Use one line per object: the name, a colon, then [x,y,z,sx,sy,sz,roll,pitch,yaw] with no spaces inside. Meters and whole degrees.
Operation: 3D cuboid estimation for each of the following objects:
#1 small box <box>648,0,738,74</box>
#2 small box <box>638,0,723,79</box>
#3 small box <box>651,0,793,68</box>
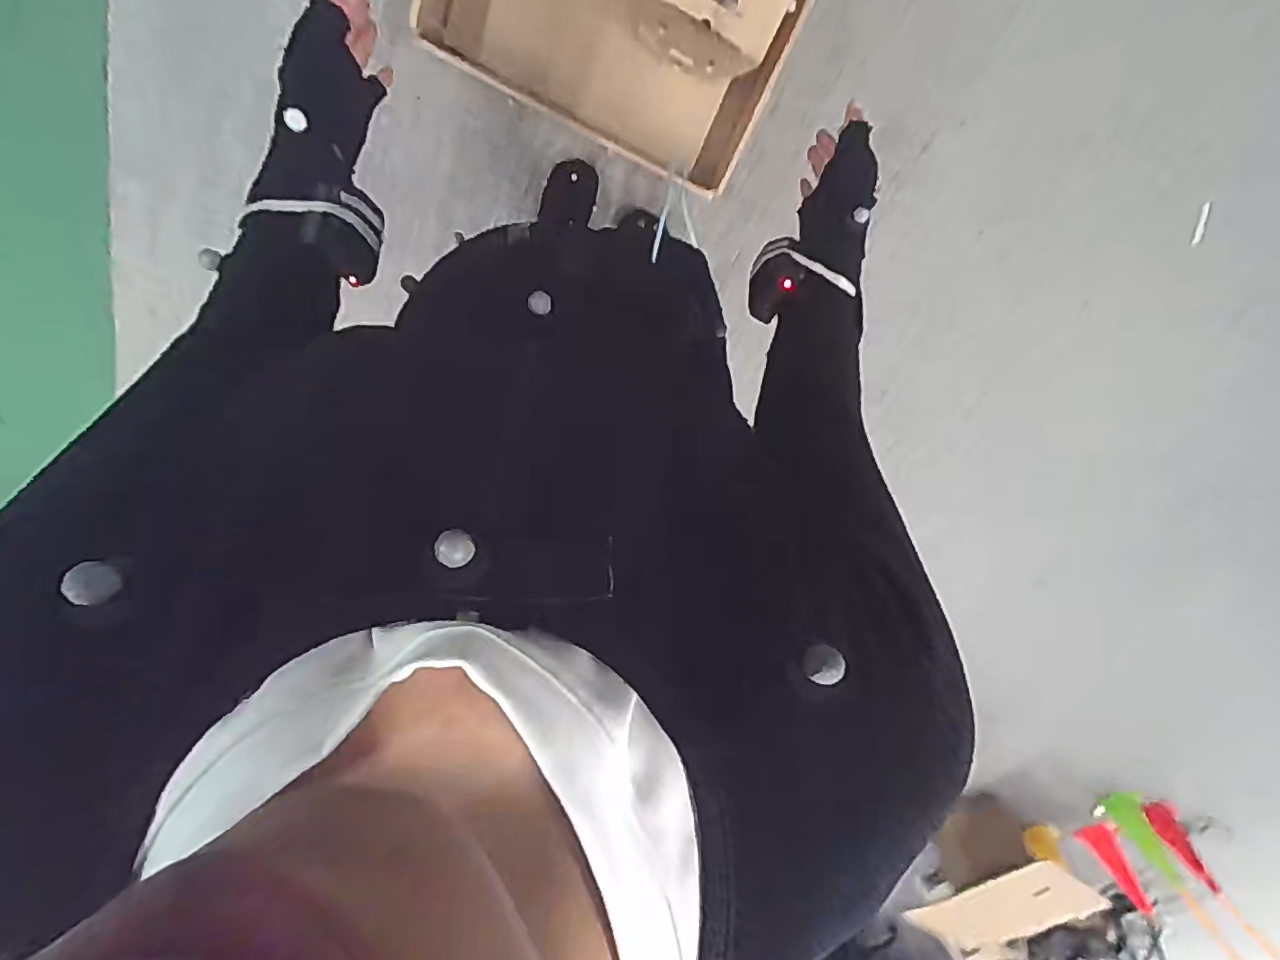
small box: [0.121,-0.747,0.807,0.168,0.176,0.179,22,119,-14]
small box: [0.105,-0.847,0.959,0.168,0.176,0.179,18,120,-10]
small box: [0.119,-0.663,0.686,0.168,0.176,0.179,22,119,-15]
